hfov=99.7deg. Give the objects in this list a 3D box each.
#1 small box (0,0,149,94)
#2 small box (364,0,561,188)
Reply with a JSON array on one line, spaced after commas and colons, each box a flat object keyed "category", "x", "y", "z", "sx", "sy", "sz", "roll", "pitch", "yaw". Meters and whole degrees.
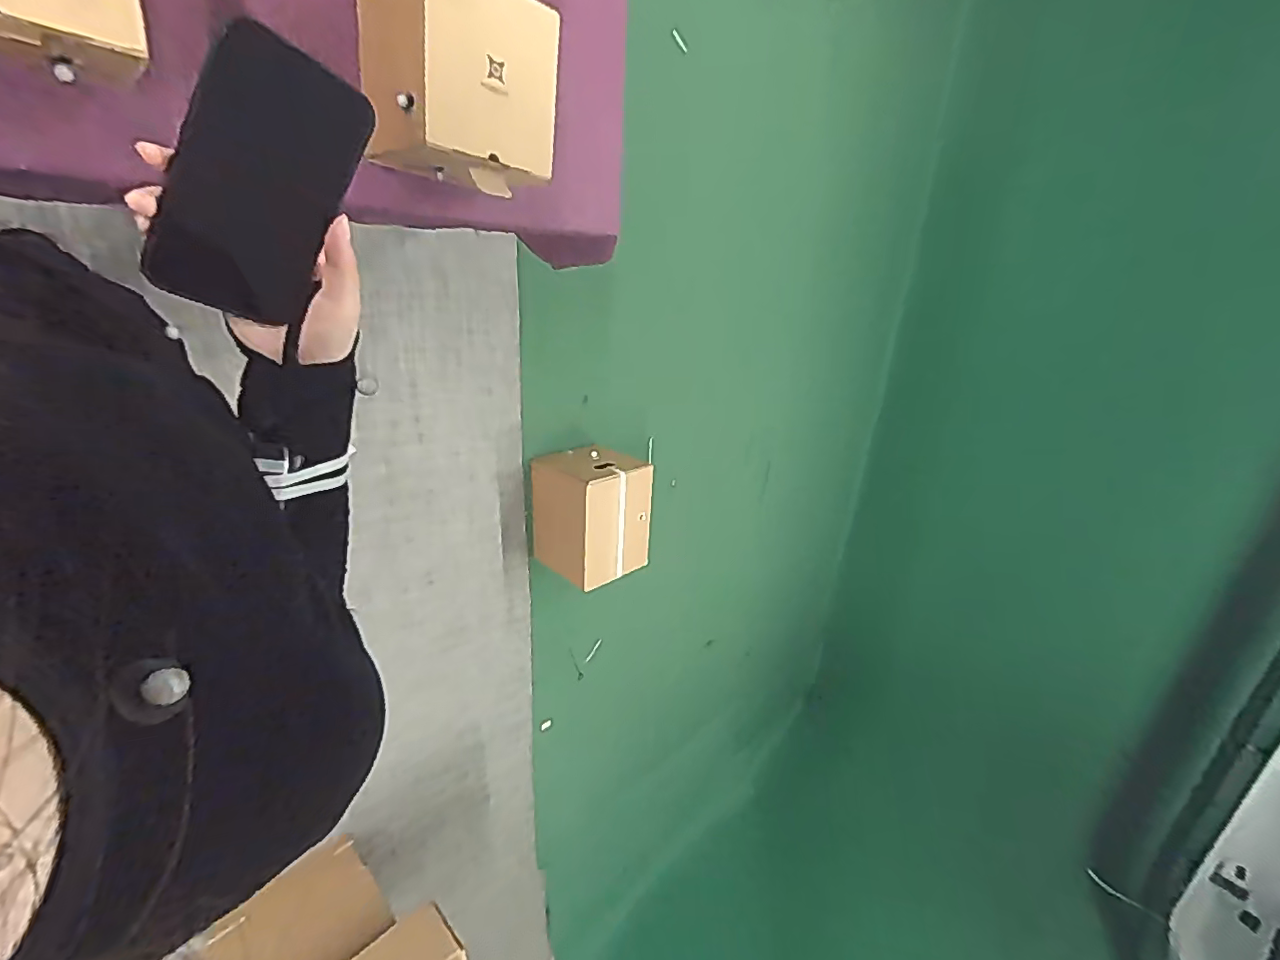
[{"category": "small box", "x": -0.480, "y": -0.405, "z": 0.381, "sx": 0.168, "sy": 0.176, "sz": 0.179, "roll": -16, "pitch": 117, "yaw": -44}, {"category": "small box", "x": -0.213, "y": -0.465, "z": 0.645, "sx": 0.168, "sy": 0.176, "sz": 0.179, "roll": -12, "pitch": 116, "yaw": -44}]
